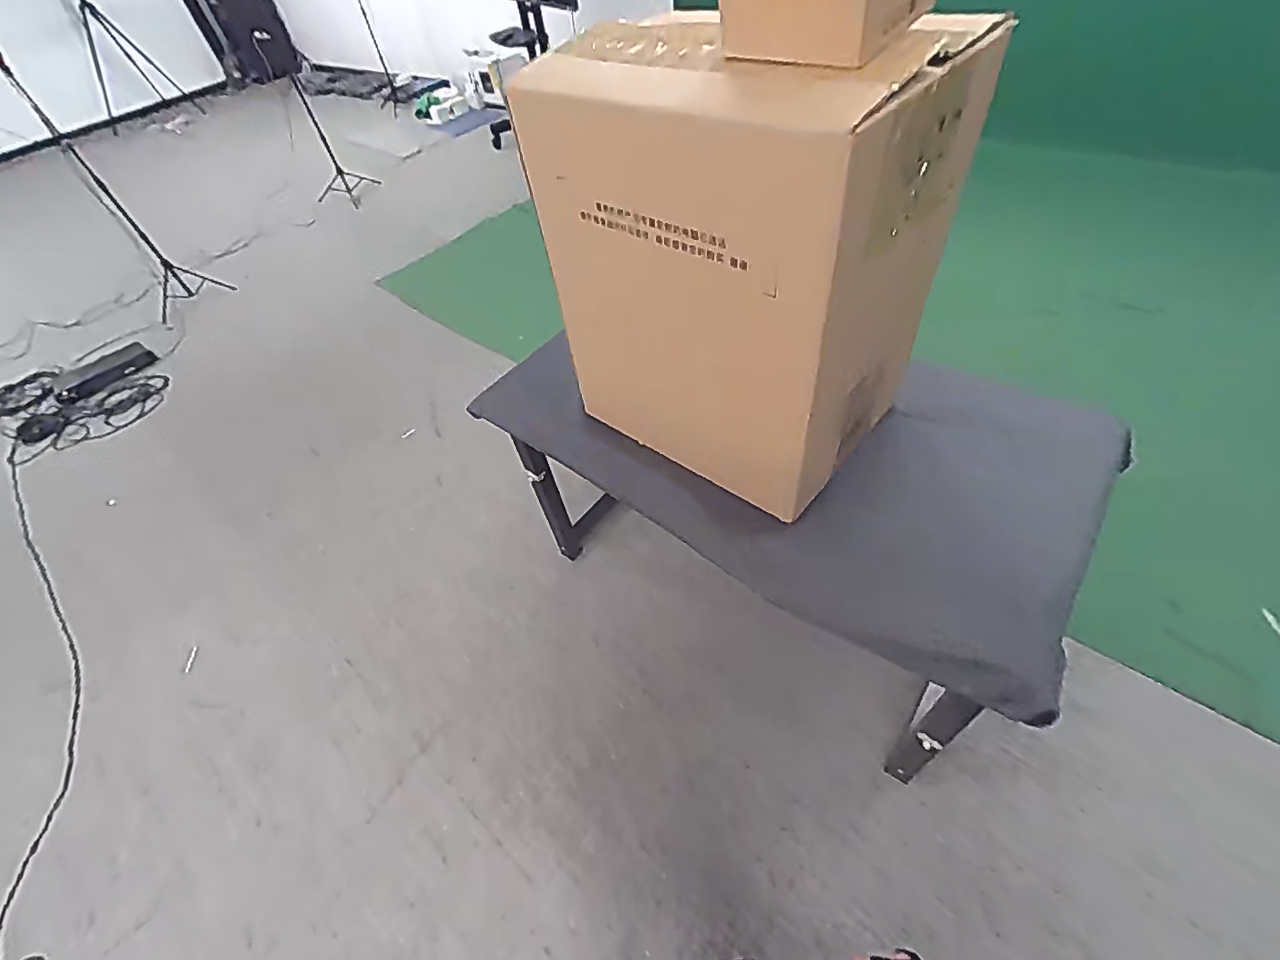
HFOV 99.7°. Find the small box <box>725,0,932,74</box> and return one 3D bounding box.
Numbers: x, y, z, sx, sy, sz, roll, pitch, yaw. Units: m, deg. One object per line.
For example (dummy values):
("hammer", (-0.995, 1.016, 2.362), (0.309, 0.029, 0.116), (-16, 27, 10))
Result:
("small box", (0.197, -0.553, 0.562), (0.179, 0.176, 0.168), (32, 68, 31))
